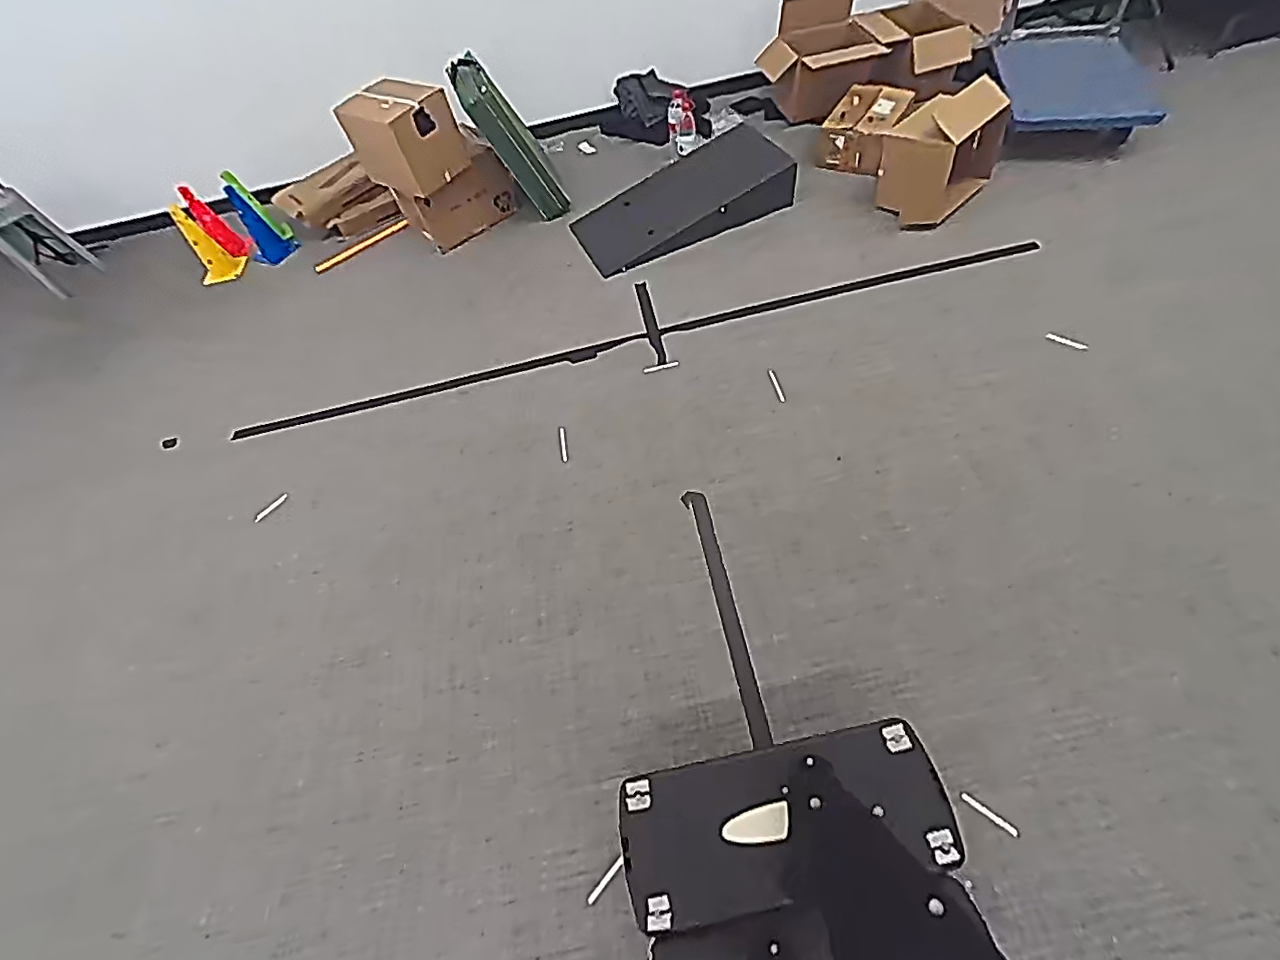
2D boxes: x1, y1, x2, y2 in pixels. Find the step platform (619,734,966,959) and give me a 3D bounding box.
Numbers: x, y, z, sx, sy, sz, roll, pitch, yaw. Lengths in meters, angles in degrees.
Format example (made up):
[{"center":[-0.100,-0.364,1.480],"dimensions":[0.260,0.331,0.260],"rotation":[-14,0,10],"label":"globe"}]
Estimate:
[{"center":[0.296,0.767,1.152],"dimensions":[0.684,0.204,0.286],"rotation":[-13,56,-1],"label":"step platform"}]
